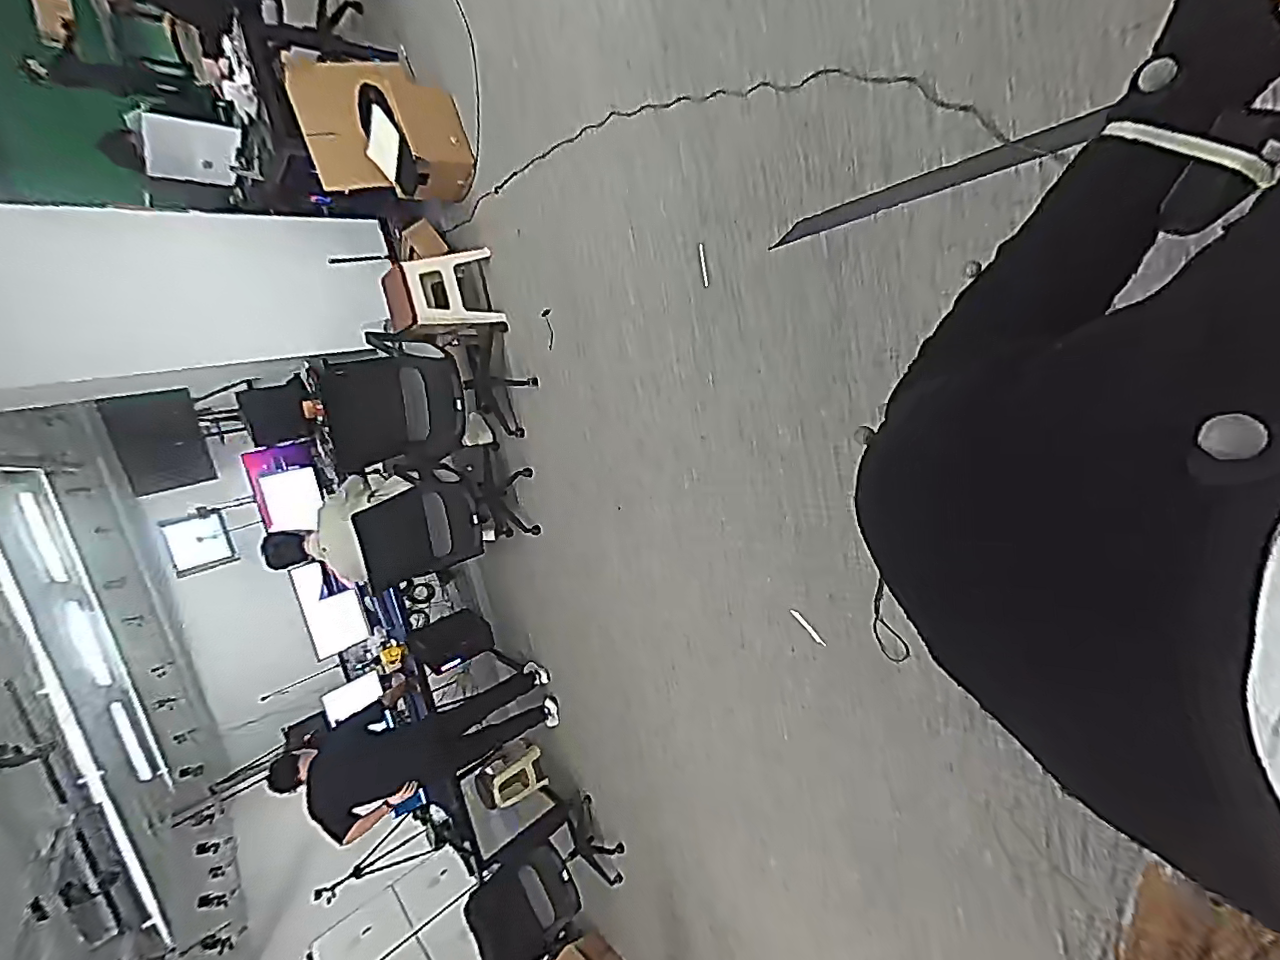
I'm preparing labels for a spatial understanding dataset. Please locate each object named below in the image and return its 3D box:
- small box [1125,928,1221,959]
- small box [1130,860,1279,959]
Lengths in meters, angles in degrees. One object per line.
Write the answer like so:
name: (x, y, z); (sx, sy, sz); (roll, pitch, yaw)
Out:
small box: (0.759, 0.754, 0.709); (0.179, 0.176, 0.168); (-10, 94, 52)
small box: (0.884, 0.723, 0.814); (0.179, 0.176, 0.168); (-10, 94, 52)
